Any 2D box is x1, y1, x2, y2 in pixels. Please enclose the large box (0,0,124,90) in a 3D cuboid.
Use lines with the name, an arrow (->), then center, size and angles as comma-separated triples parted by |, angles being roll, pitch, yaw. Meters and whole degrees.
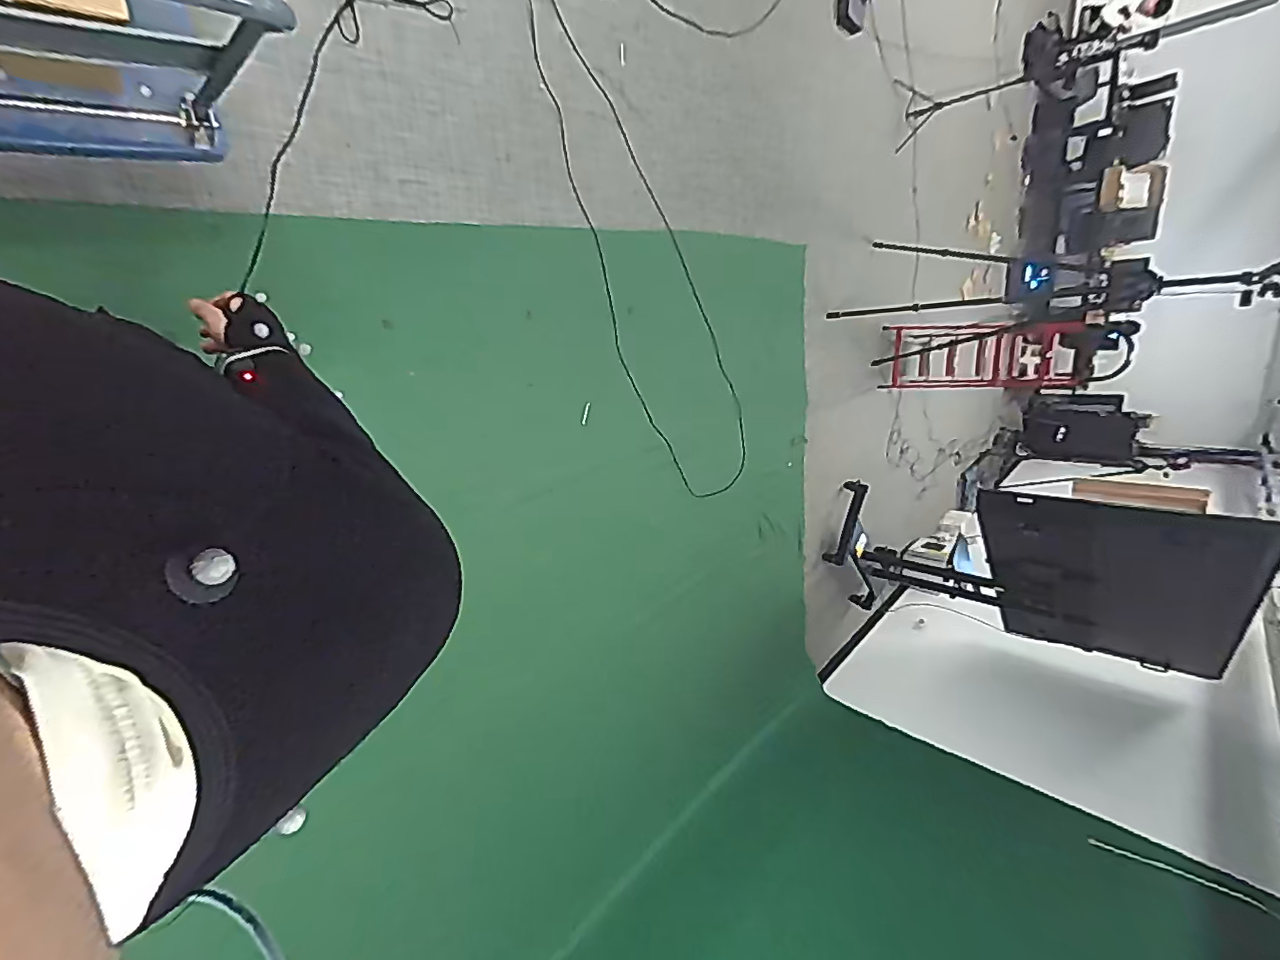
large box -> -1.008, -0.853, 0.758 | 0.320, 0.320, 0.408 | -22, 112, -42
